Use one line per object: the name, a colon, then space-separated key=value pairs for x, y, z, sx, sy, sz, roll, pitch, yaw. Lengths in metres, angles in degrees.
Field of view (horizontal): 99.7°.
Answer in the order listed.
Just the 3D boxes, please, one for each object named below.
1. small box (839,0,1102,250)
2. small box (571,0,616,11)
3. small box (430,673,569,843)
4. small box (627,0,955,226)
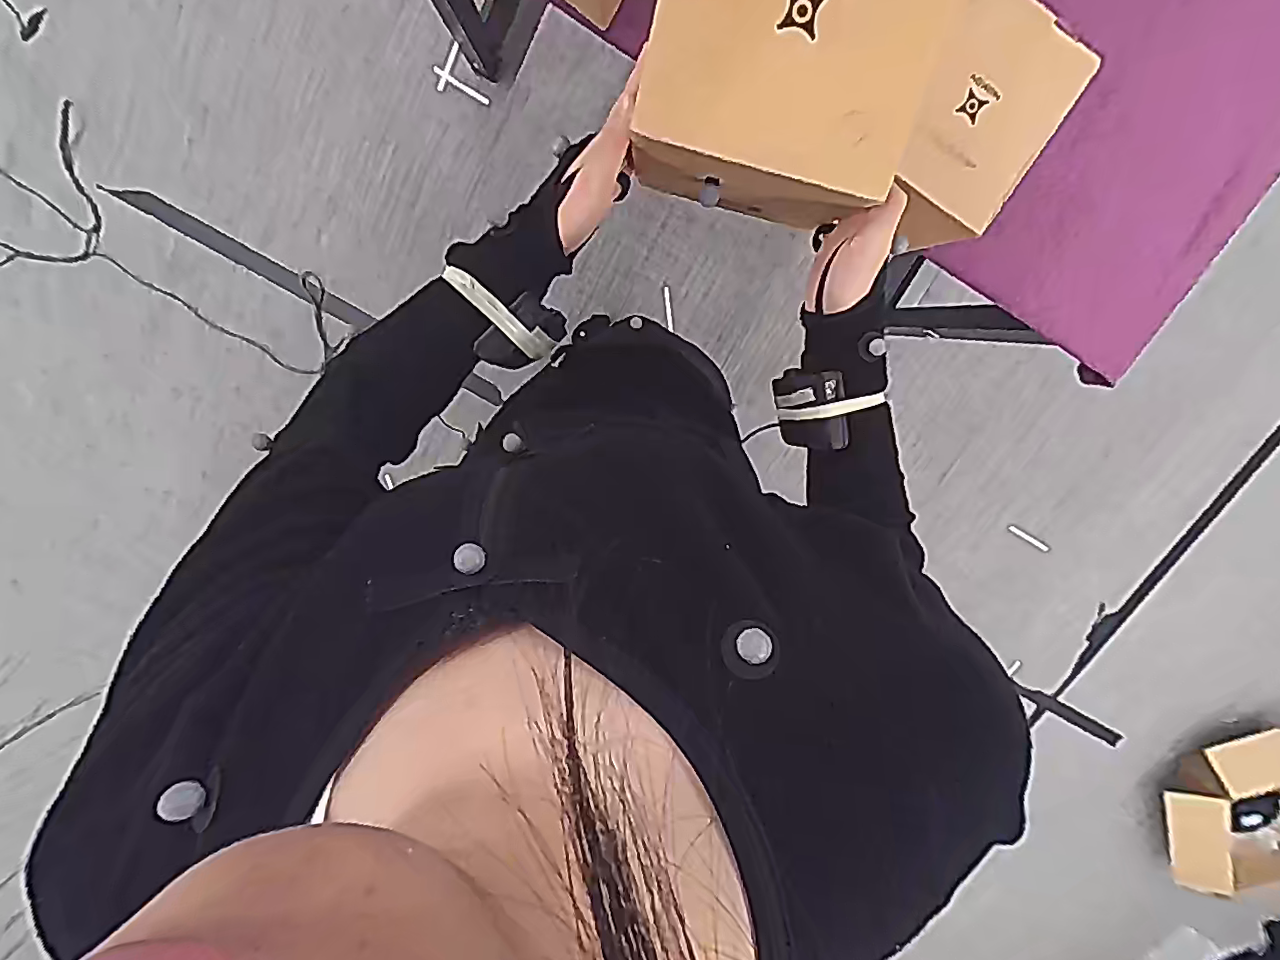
small box: x=0.311 y=-0.374 z=0.578 sx=0.168 sy=0.176 sz=0.179 roll=29 pitch=105 yaw=-9
small box: x=-0.060 y=-0.591 z=0.495 sx=0.179 sy=0.176 sz=0.168 roll=33 pitch=103 yaw=-11
small box: x=-0.239 y=0.488 z=0.964 sx=0.168 sy=0.176 sz=0.179 roll=29 pitch=105 yaw=-10
small box: x=0.094 y=-0.294 z=0.377 sx=0.168 sy=0.176 sz=0.179 roll=14 pitch=108 yaw=-3
